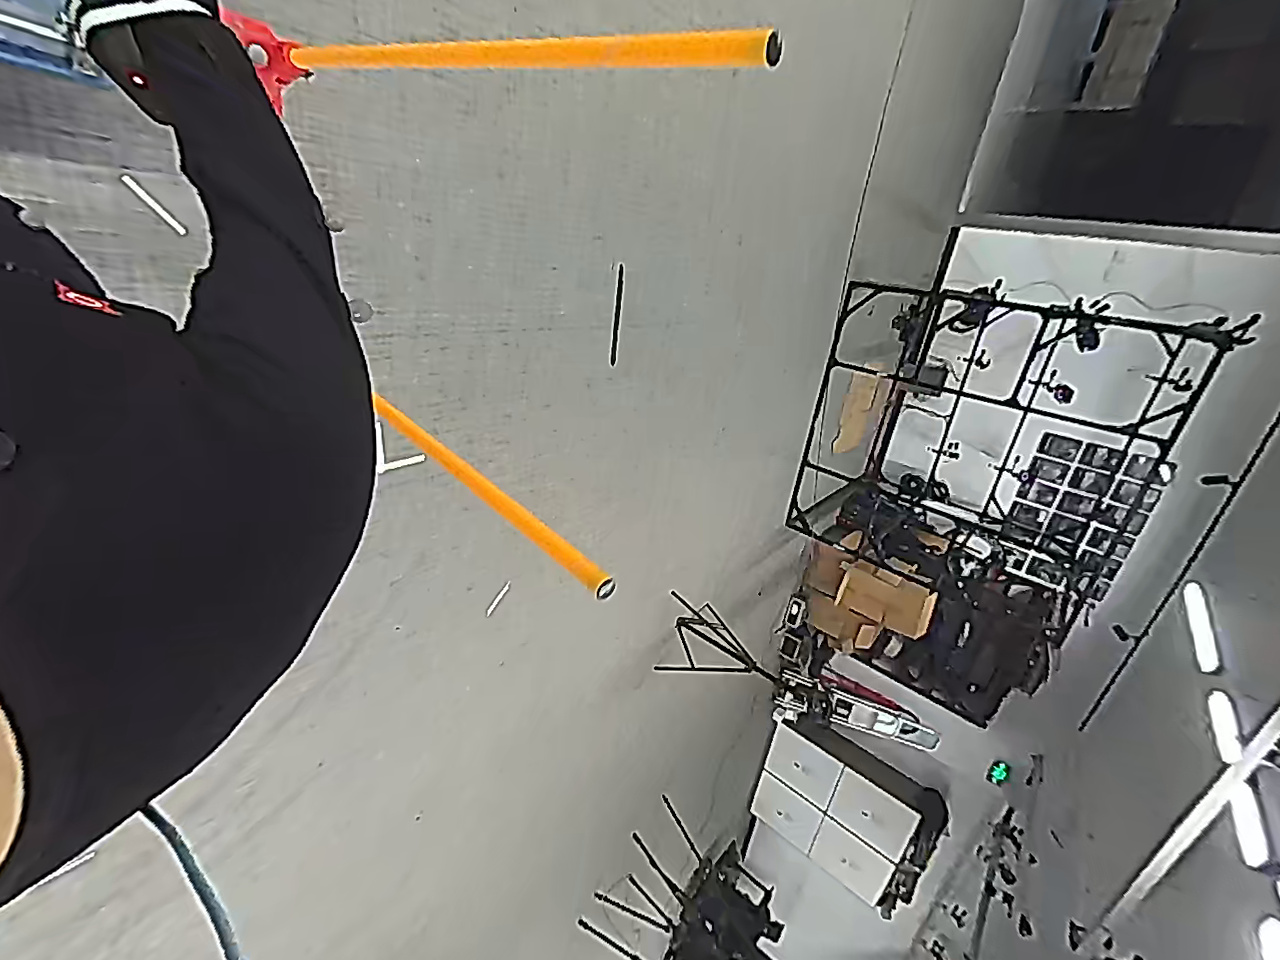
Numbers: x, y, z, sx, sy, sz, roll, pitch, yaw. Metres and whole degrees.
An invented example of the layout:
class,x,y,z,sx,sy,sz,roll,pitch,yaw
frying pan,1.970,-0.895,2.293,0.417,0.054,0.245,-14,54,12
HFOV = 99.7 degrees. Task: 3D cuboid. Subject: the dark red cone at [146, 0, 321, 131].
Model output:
class,x,y,z,sx,sy,sz,roll,pitch,yaw
dark red cone,-0.672,-0.747,0.947,0.201,0.394,0.202,-22,128,-49
